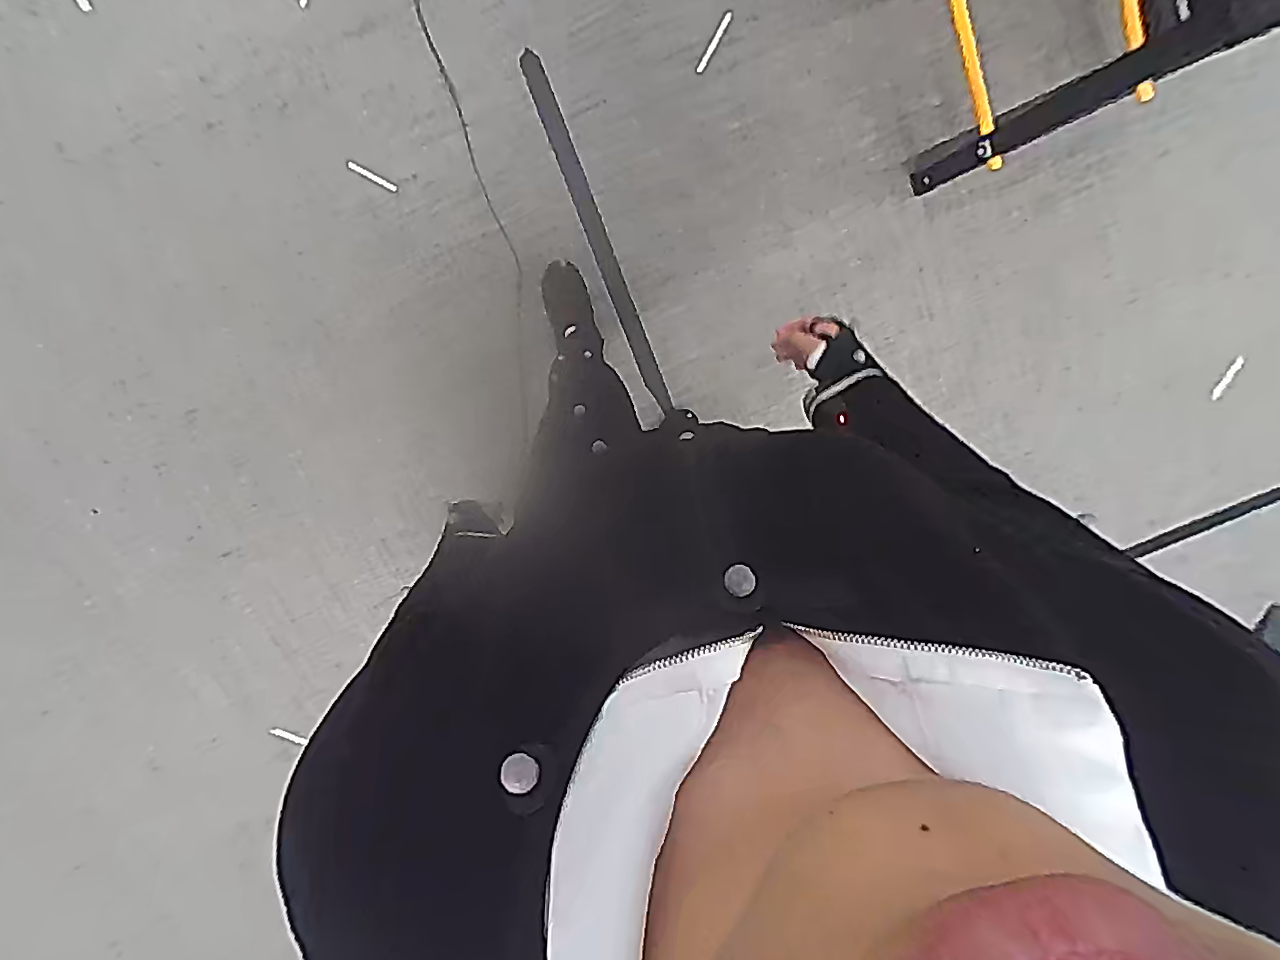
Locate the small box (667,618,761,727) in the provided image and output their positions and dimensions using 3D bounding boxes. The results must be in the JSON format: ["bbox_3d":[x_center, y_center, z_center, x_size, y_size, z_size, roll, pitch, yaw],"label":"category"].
[{"bbox_3d":[0.181,0.480,1.371,0.179,0.176,0.168,-23,104,4],"label":"small box"}]
